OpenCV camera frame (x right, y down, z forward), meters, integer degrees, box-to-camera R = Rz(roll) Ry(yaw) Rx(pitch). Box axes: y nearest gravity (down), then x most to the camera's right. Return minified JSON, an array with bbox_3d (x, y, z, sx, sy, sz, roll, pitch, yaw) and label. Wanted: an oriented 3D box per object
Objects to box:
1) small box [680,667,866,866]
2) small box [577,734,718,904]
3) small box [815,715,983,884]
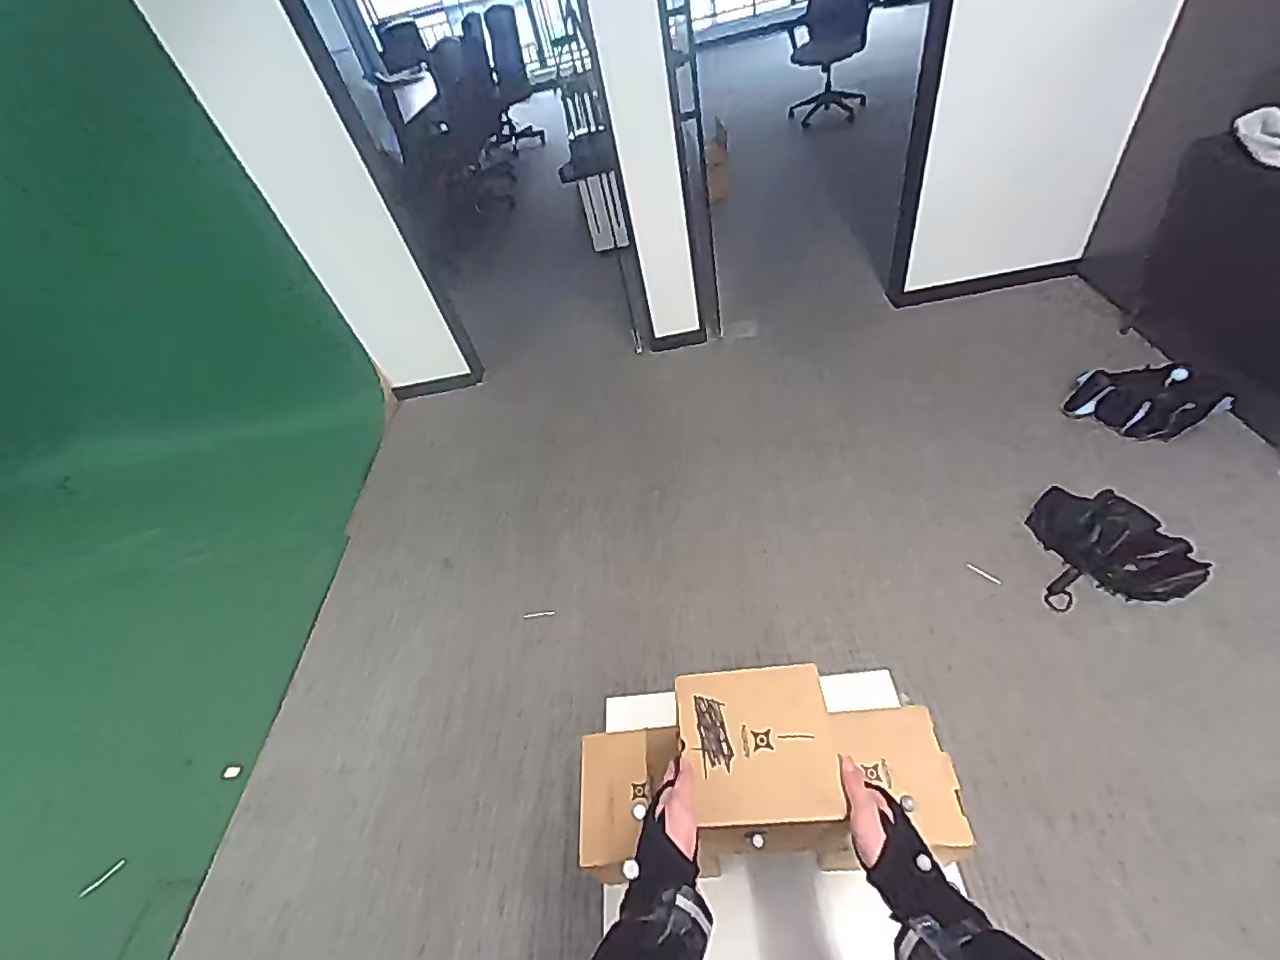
[{"bbox_3d":[0.148,0.345,0.644,0.179,0.176,0.168,-7,45,5],"label":"small box"},{"bbox_3d":[0.014,0.483,0.769,0.179,0.176,0.168,-9,44,3],"label":"small box"},{"bbox_3d":[0.324,0.442,0.745,0.179,0.176,0.168,-8,45,6],"label":"small box"}]
